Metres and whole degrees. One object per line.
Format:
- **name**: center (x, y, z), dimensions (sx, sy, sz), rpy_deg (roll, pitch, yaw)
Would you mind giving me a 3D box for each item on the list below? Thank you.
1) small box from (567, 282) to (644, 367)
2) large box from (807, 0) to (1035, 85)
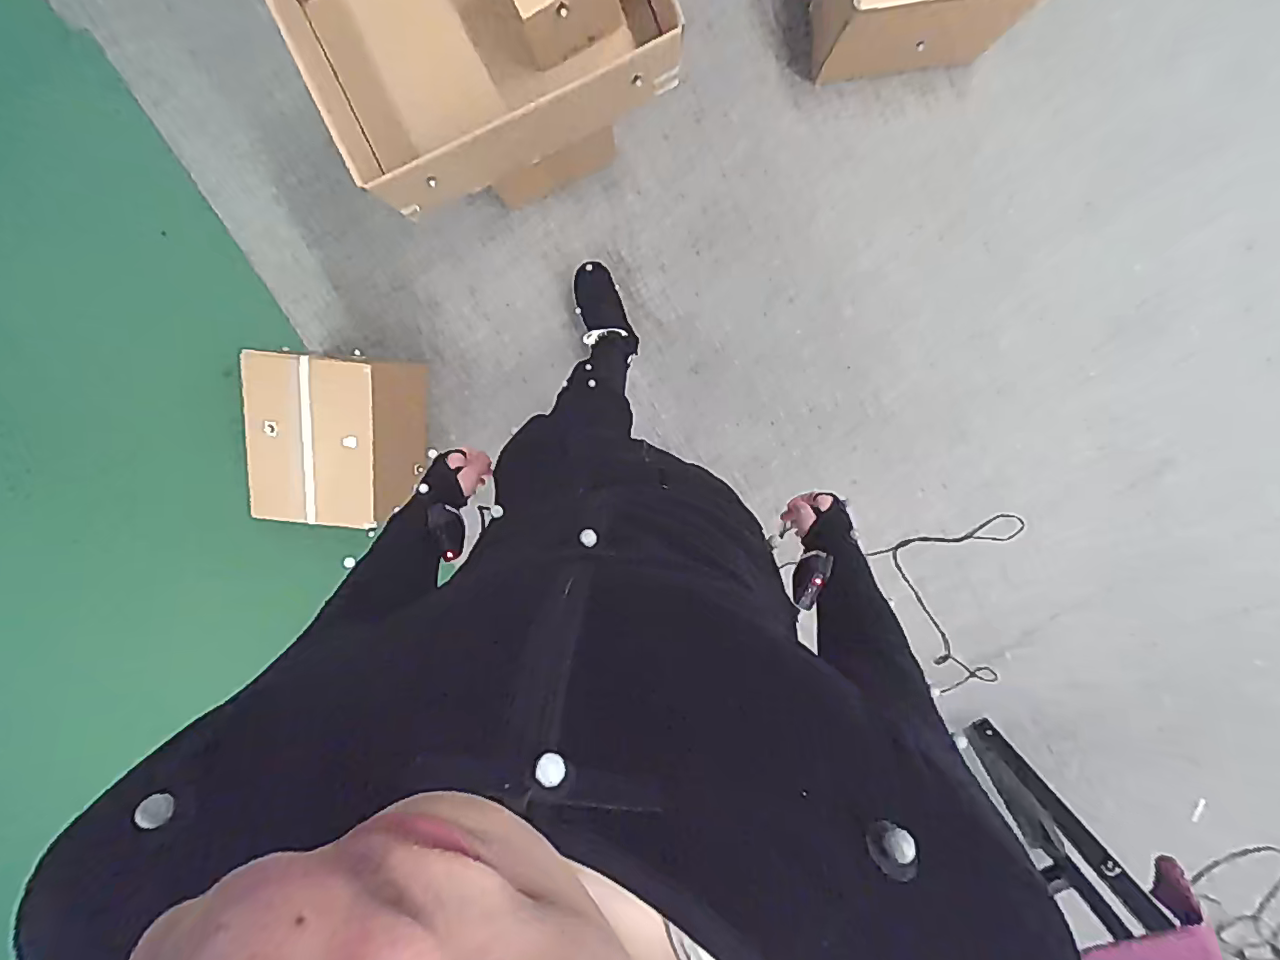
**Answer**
- **small box**: center (-0.087, -0.419, 1.438), dimensions (0.168, 0.176, 0.179), rpy_deg (14, 112, -1)
- **large box**: center (0.606, -1.129, 1.179), dimensions (0.408, 0.320, 0.320), rpy_deg (-6, 102, 3)
